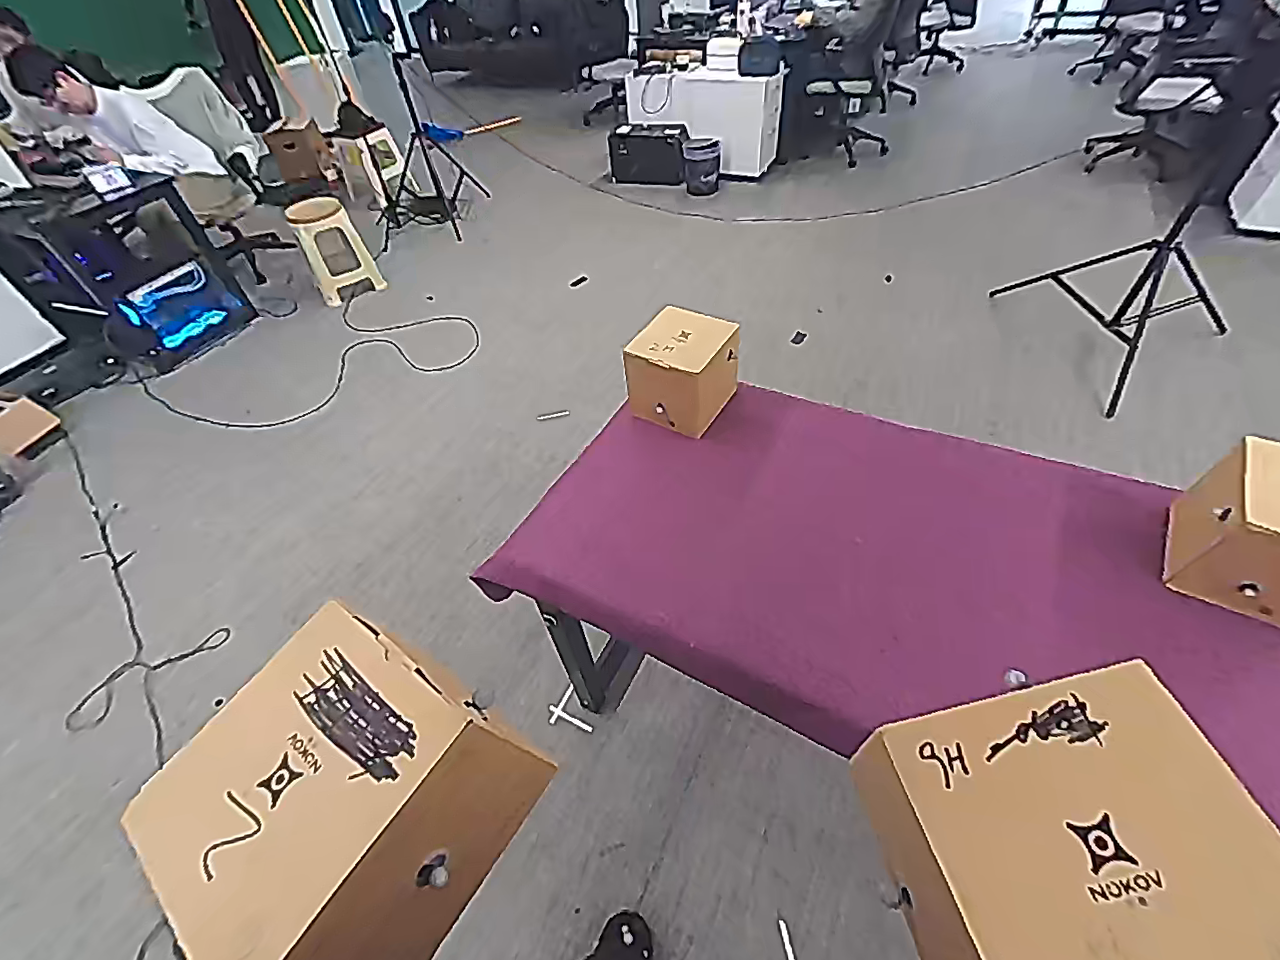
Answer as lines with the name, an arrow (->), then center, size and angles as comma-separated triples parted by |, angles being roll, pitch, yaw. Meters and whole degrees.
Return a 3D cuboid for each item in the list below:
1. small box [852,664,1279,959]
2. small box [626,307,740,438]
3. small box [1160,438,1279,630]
small box -> 0.258, 0.244, 0.350 | 0.168, 0.176, 0.179 | -15, 54, 2
small box -> 0.089, -0.219, 1.103 | 0.168, 0.176, 0.179 | 23, 56, 24
small box -> 0.885, 0.077, 0.761 | 0.168, 0.176, 0.179 | 23, 59, 24
